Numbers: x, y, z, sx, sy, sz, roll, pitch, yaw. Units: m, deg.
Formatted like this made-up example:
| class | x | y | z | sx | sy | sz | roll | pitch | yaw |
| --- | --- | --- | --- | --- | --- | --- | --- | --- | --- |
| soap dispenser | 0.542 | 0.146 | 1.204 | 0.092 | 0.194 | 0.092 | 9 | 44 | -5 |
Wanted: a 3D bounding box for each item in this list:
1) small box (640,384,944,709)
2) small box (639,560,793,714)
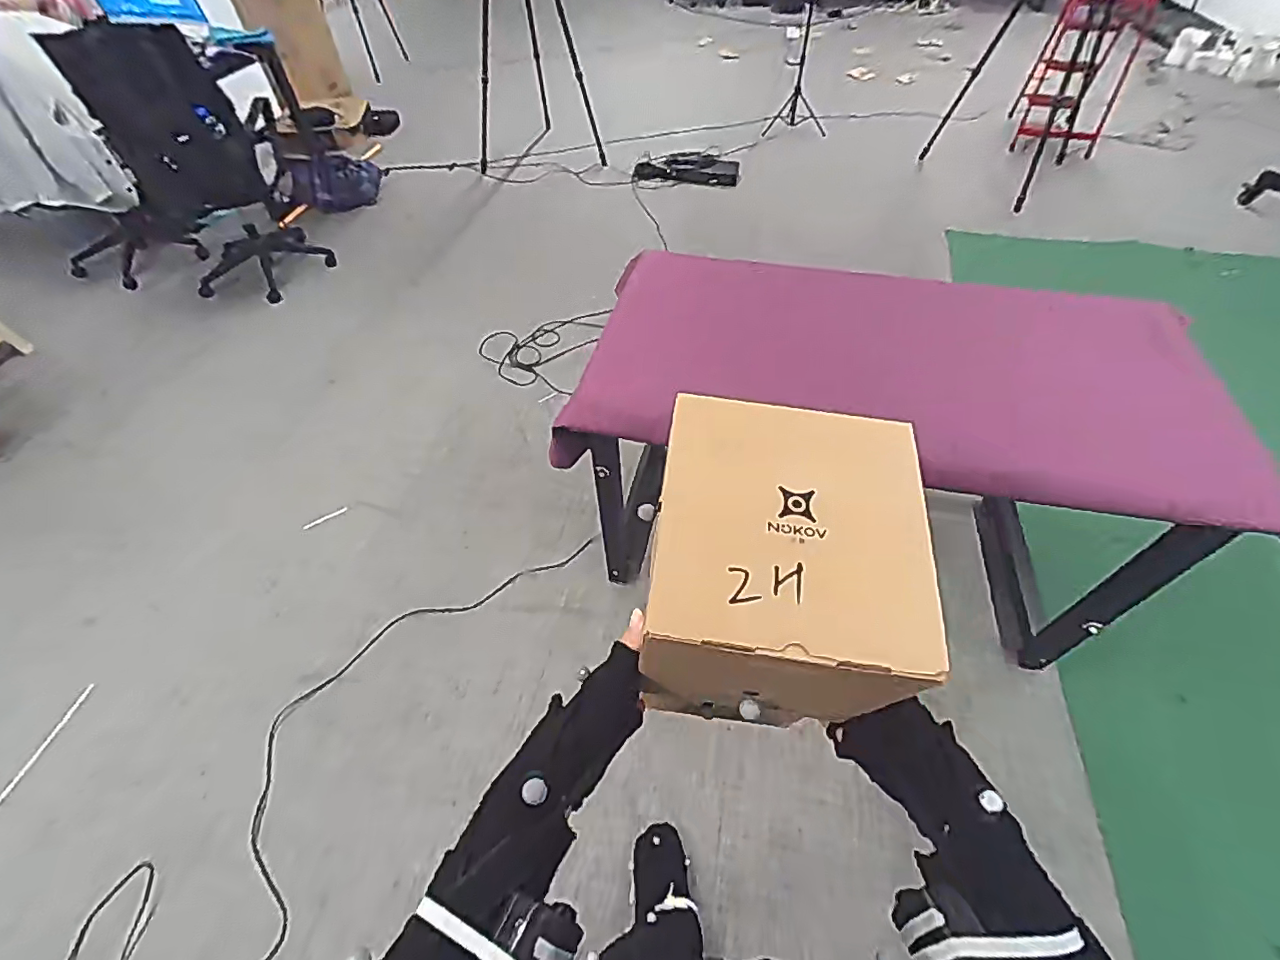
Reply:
| class | x | y | z | sx | sy | sz | roll | pitch | yaw |
| --- | --- | --- | --- | --- | --- | --- | --- | --- | --- |
| small box | 0.093 | 0.058 | 0.406 | 0.168 | 0.176 | 0.179 | 8 | 60 | 2 |
| small box | 0.090 | 0.127 | 0.556 | 0.168 | 0.176 | 0.179 | 7 | 60 | 1 |
